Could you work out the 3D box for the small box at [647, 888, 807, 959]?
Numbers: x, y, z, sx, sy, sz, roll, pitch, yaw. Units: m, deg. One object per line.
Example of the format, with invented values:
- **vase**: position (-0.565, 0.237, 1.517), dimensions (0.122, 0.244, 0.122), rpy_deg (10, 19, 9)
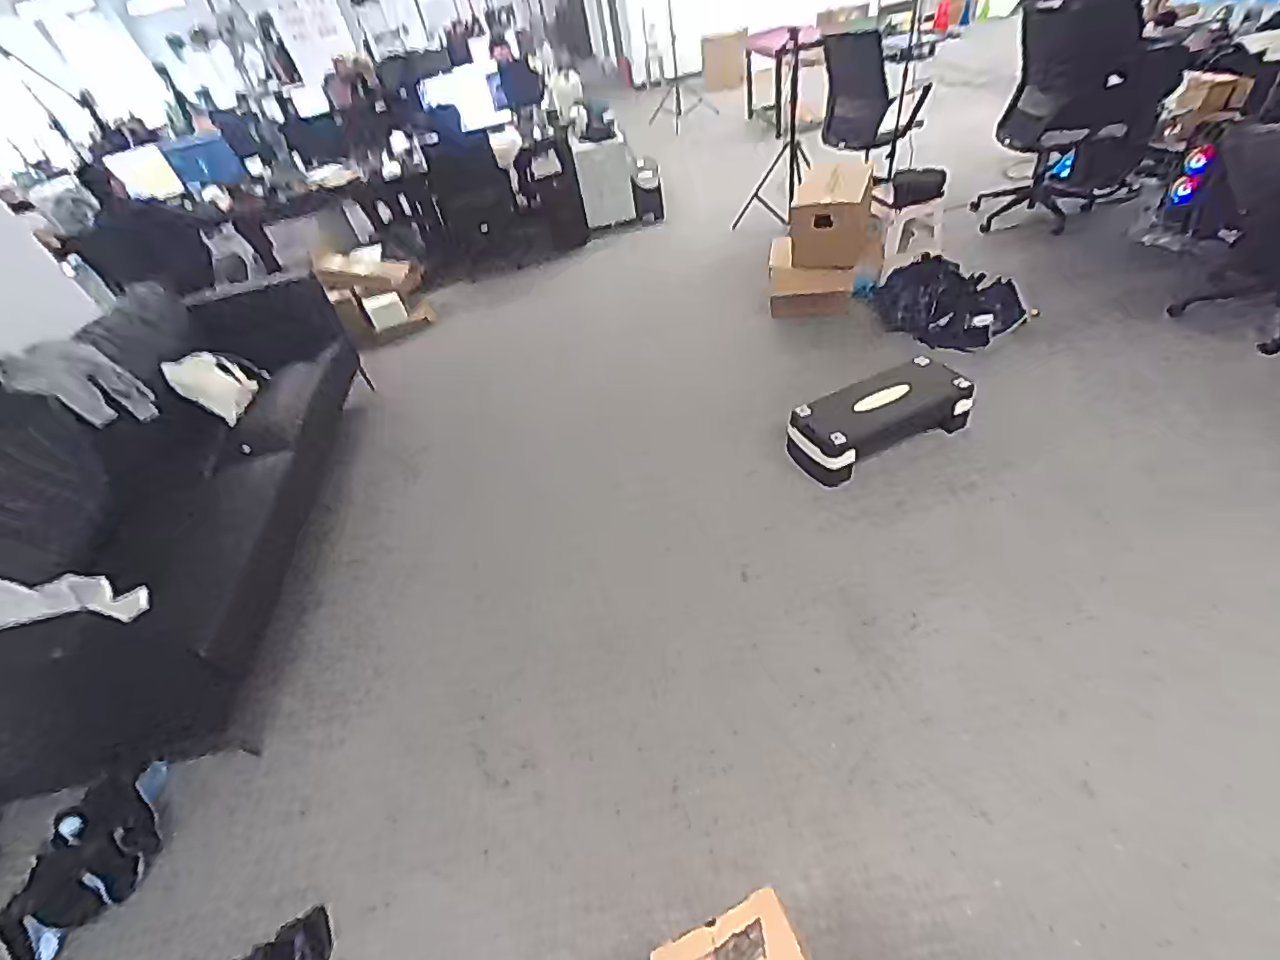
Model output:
- **small box**: position (0.129, 0.622, 0.622), dimensions (0.168, 0.176, 0.179), rpy_deg (-26, 41, -4)
